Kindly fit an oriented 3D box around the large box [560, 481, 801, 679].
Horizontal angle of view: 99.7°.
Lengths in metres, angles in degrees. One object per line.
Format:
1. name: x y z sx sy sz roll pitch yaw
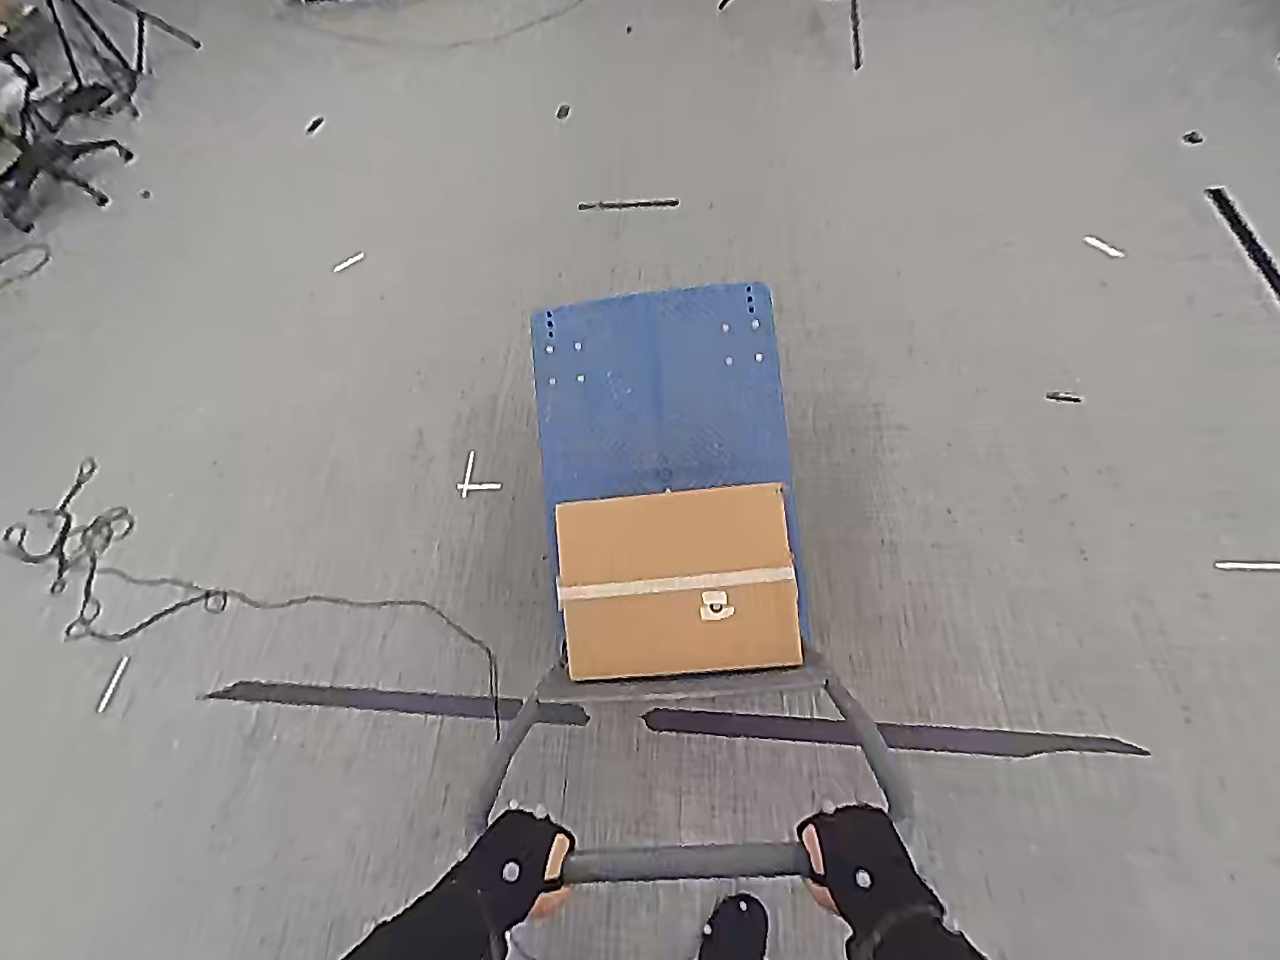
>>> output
1. large box: 0.076 0.190 1.109 0.408 0.320 0.320 -7 86 3
